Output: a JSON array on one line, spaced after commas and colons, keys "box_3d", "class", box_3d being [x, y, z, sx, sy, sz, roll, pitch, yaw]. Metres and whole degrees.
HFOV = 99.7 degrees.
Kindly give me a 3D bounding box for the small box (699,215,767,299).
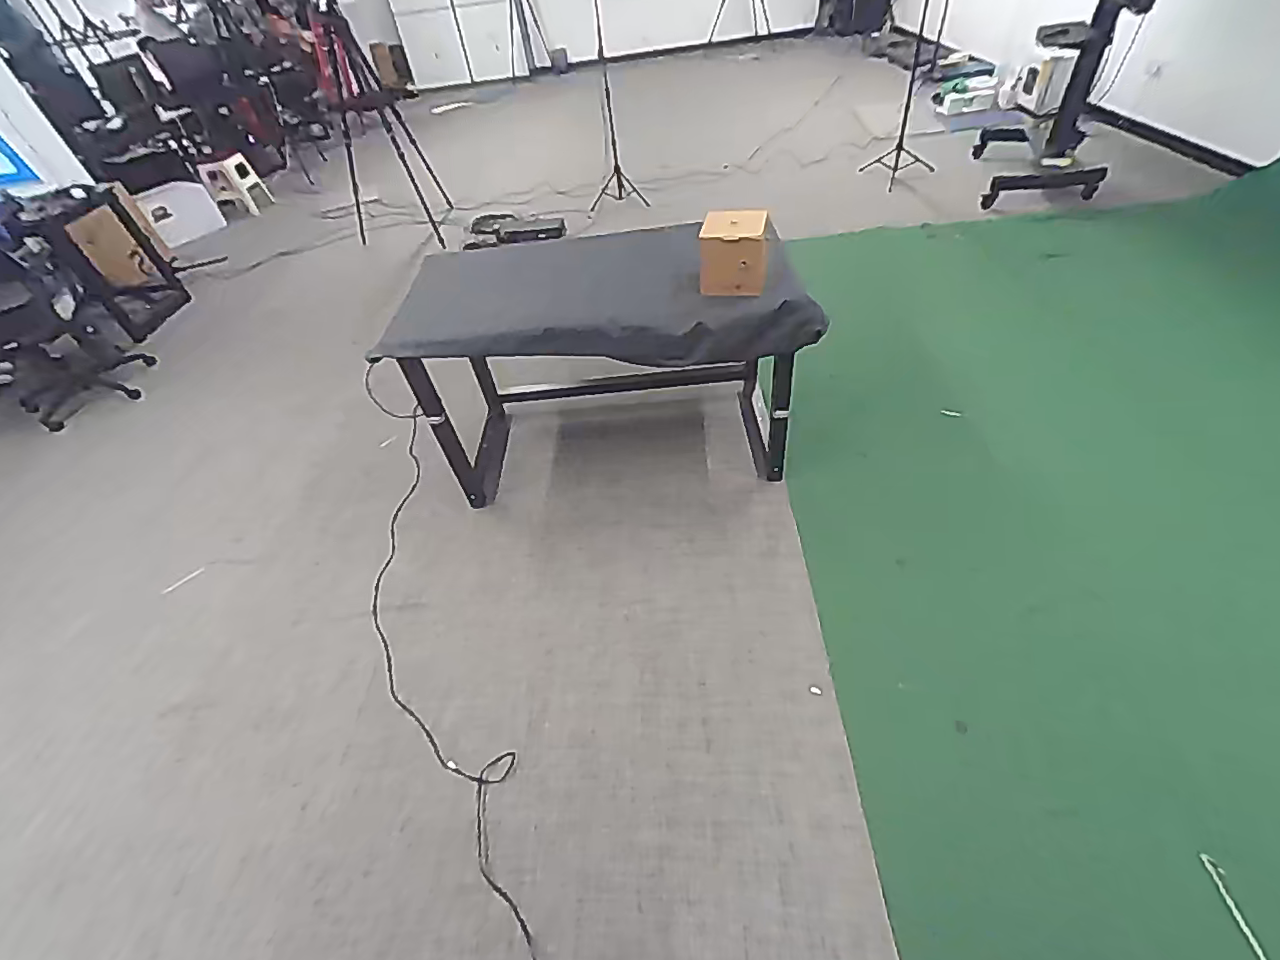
[{"box_3d": [0.262, -0.622, 1.512, 0.168, 0.176, 0.179, 5, 45, 14], "class": "small box"}]
